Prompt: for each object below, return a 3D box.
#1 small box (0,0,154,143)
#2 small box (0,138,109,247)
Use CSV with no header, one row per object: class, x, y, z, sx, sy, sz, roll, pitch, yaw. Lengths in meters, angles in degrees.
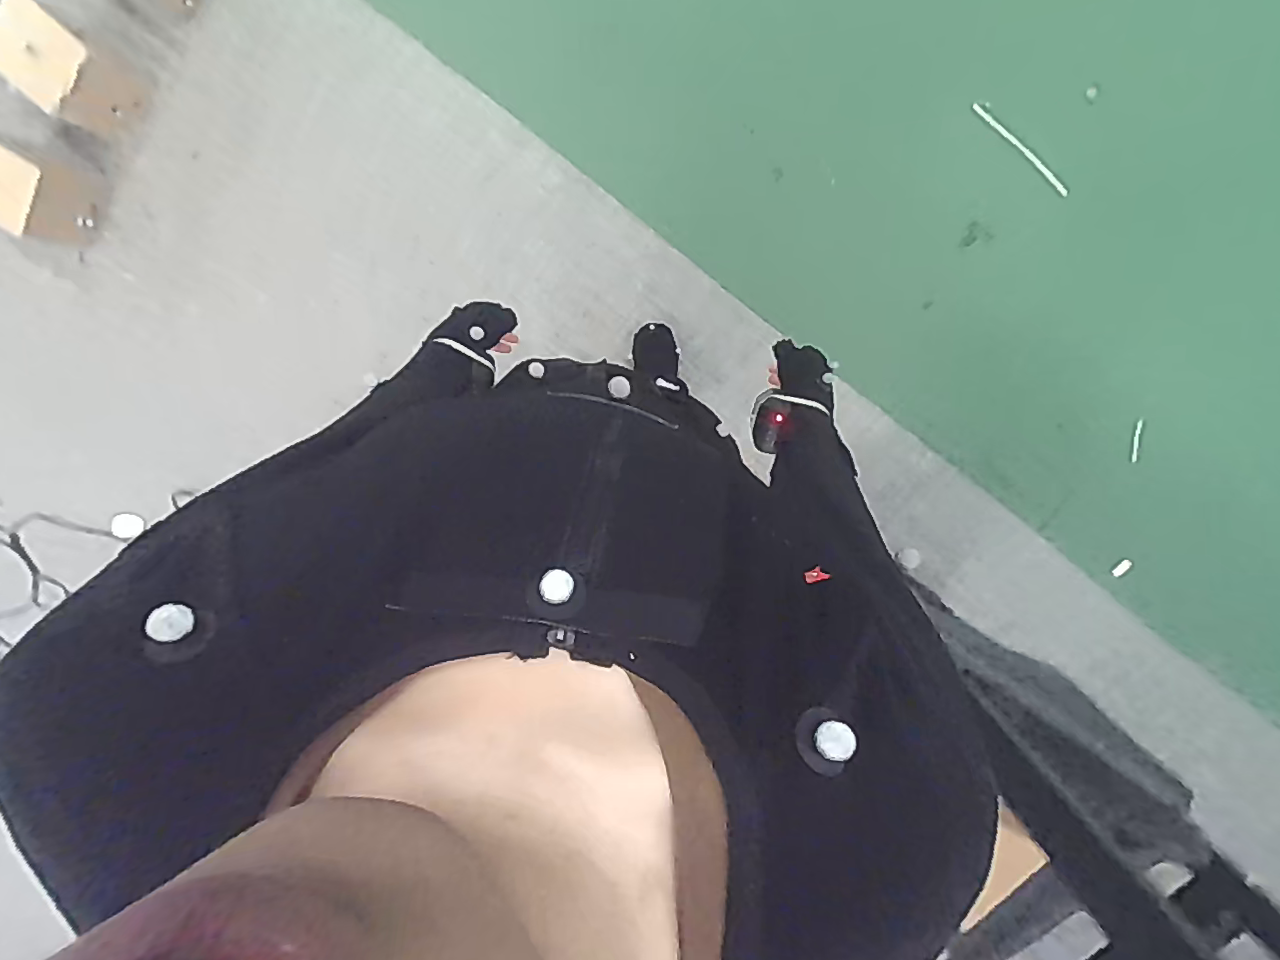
small box,-1.255,-0.893,1.194,0.179,0.176,0.168,41,101,-10
small box,-1.414,-0.664,1.253,0.179,0.176,0.168,32,104,-9
